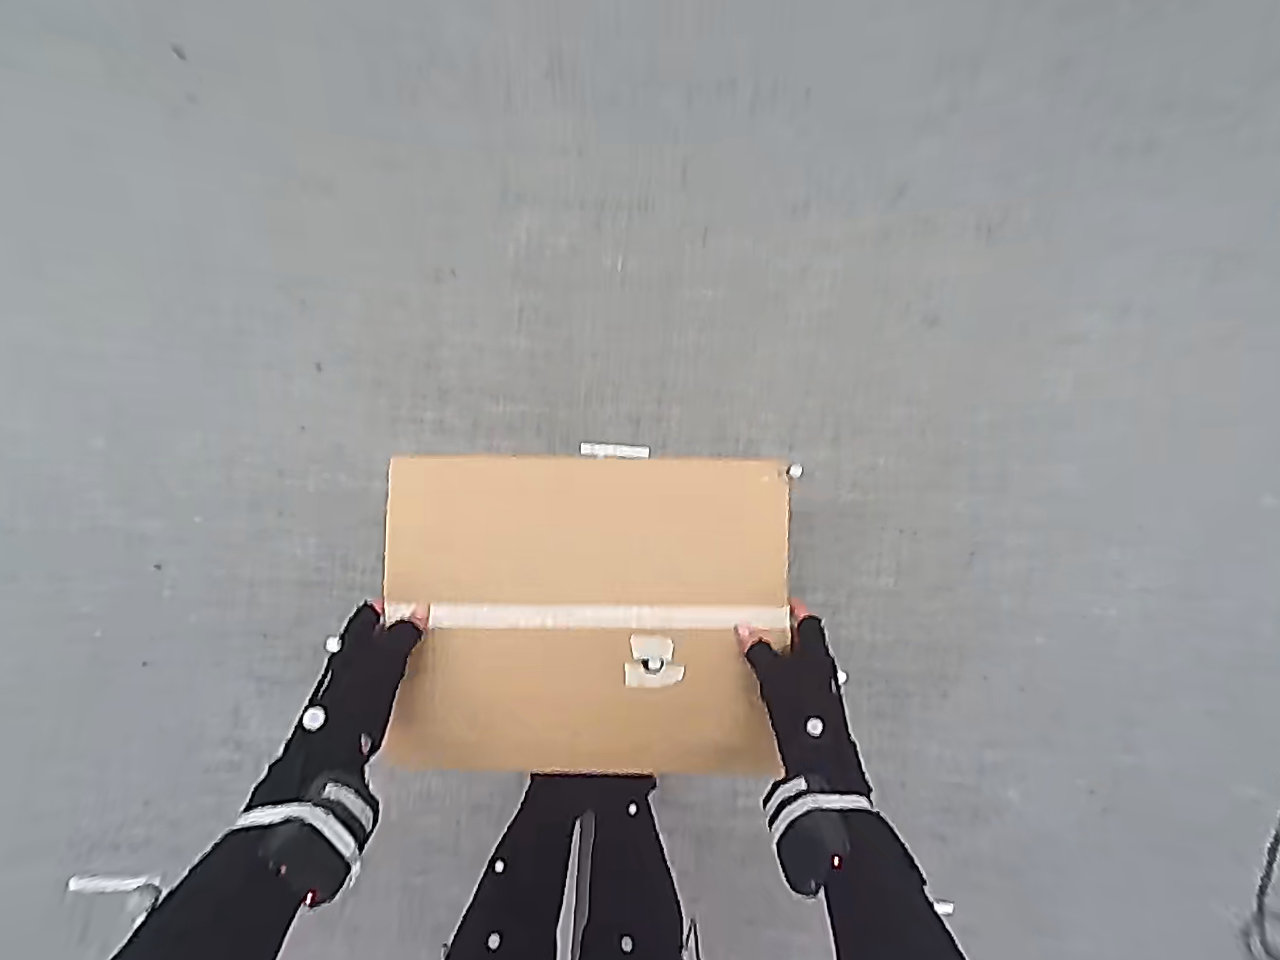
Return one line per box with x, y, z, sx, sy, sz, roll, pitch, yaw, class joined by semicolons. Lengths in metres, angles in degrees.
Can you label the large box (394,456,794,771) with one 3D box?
-0.049;0.139;0.689;0.408;0.320;0.320;1;88;-1;large box
